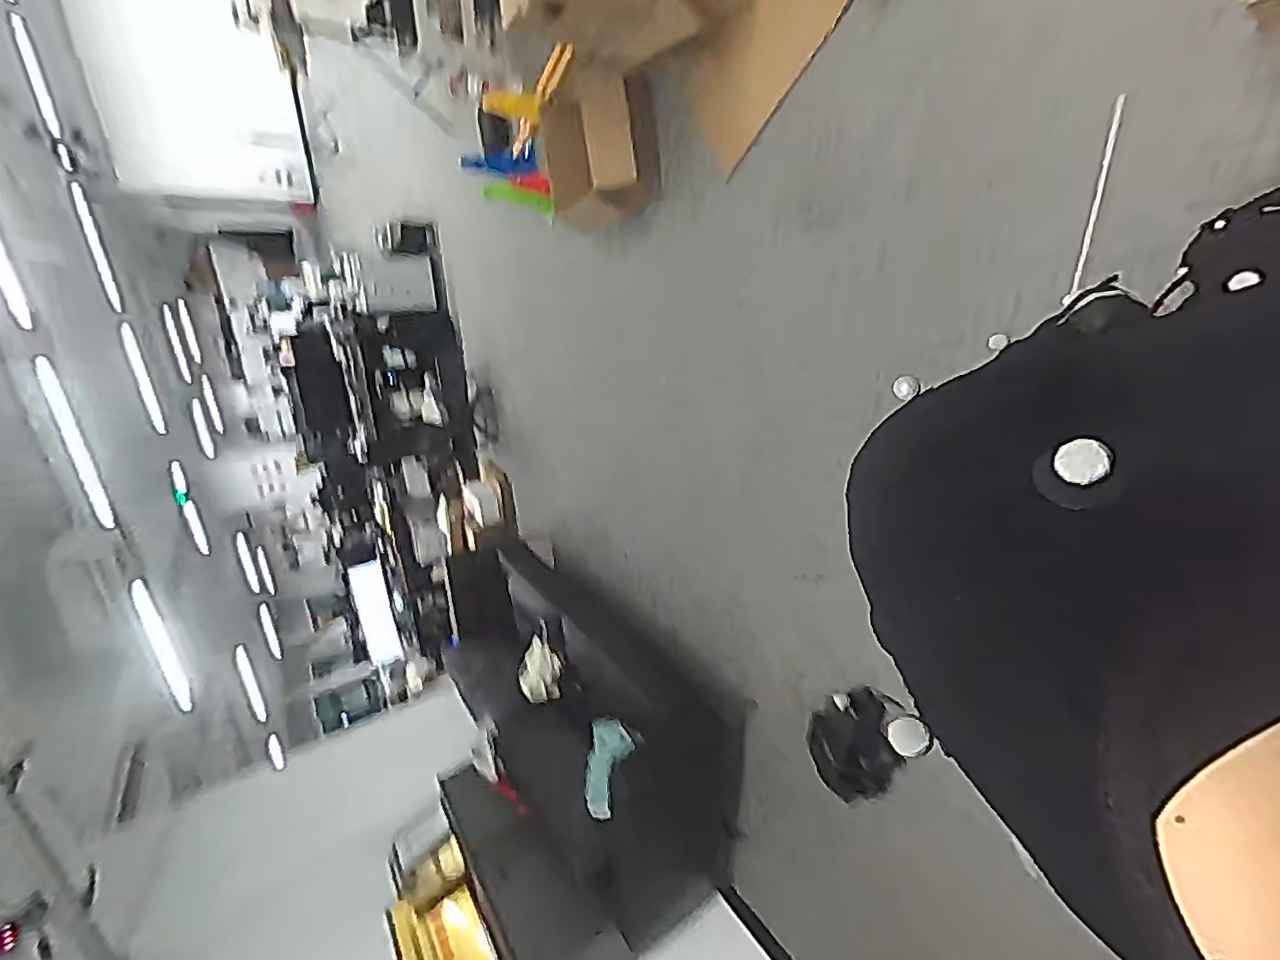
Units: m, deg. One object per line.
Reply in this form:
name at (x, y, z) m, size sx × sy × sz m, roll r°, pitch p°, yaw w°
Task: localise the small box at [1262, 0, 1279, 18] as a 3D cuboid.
small box at (0.944, -0.752, 0.702) m, size 0.168 × 0.176 × 0.179 m, roll 17°, pitch 118°, yaw 53°
